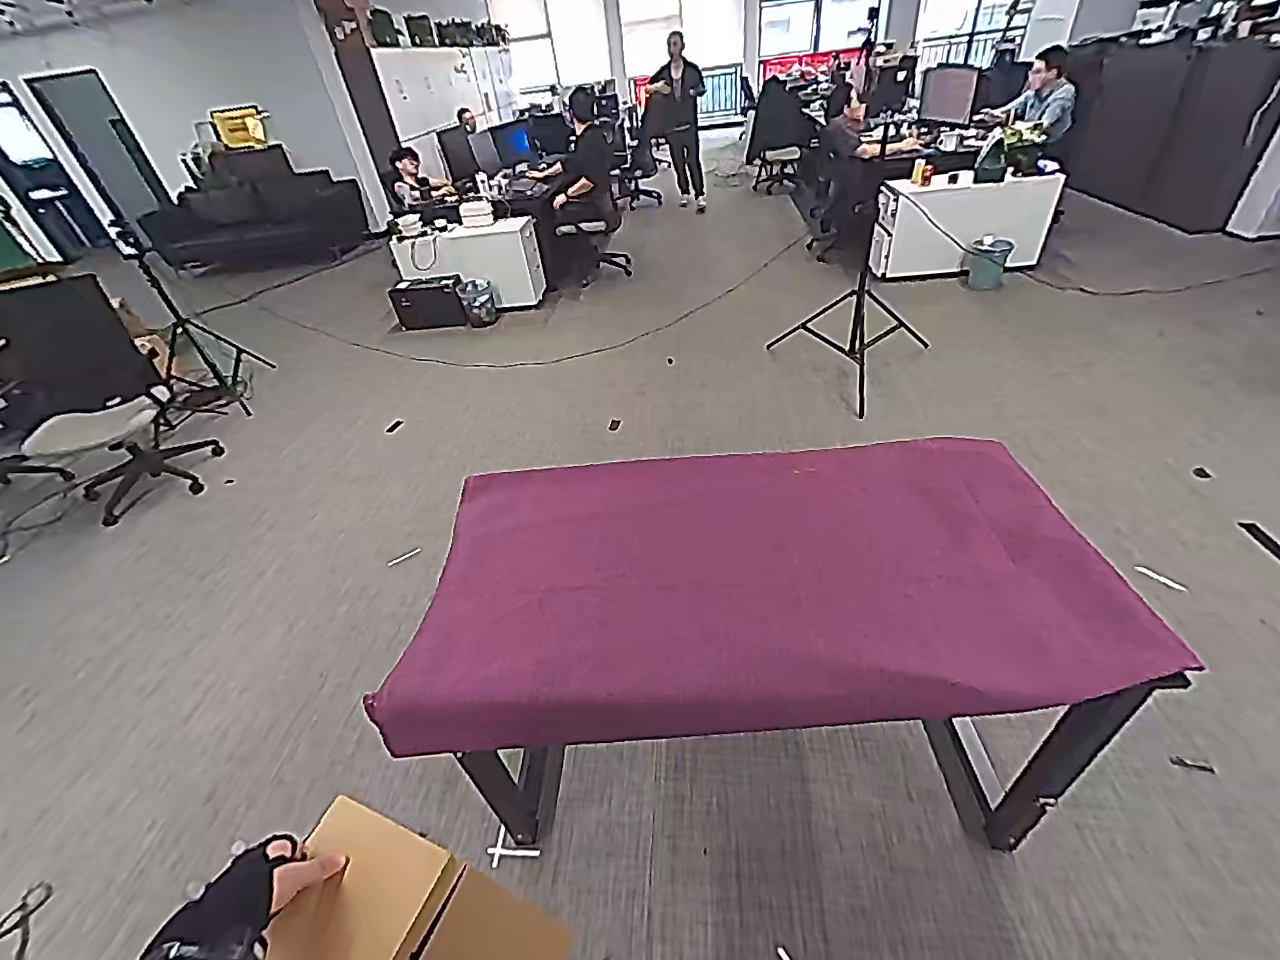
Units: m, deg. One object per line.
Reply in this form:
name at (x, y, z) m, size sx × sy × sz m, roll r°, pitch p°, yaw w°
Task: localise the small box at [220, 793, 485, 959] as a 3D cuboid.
small box at (-0.296, 0.491, 0.604) m, size 0.179 × 0.176 × 0.168 m, roll 19°, pitch 47°, yaw 14°
